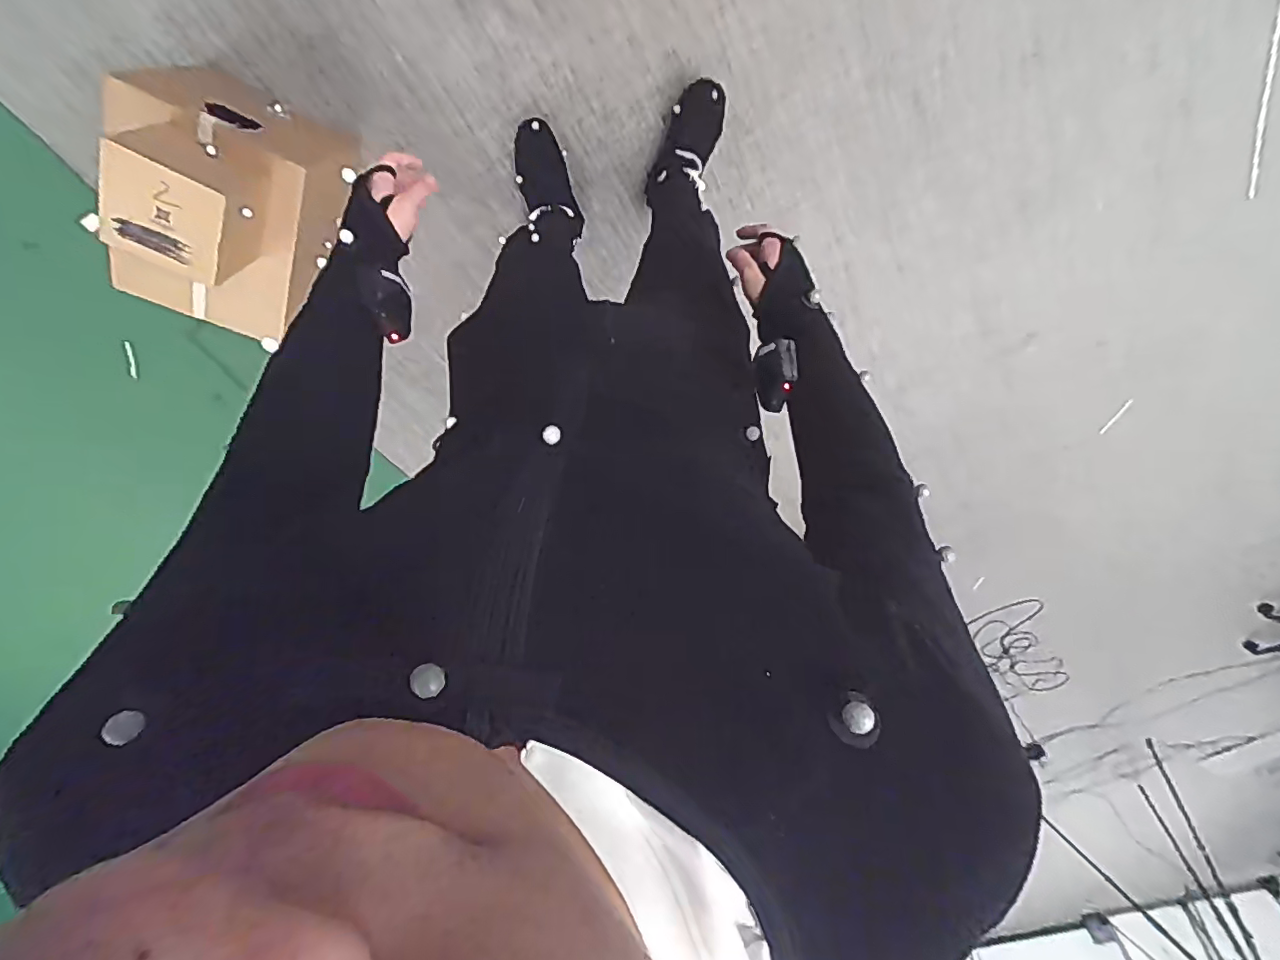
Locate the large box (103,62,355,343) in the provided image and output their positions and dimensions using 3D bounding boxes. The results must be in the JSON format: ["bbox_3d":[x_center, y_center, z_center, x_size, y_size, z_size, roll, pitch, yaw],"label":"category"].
[{"bbox_3d":[-0.848,-0.588,1.161,0.320,0.320,0.408,21,126,-19],"label":"large box"}]
